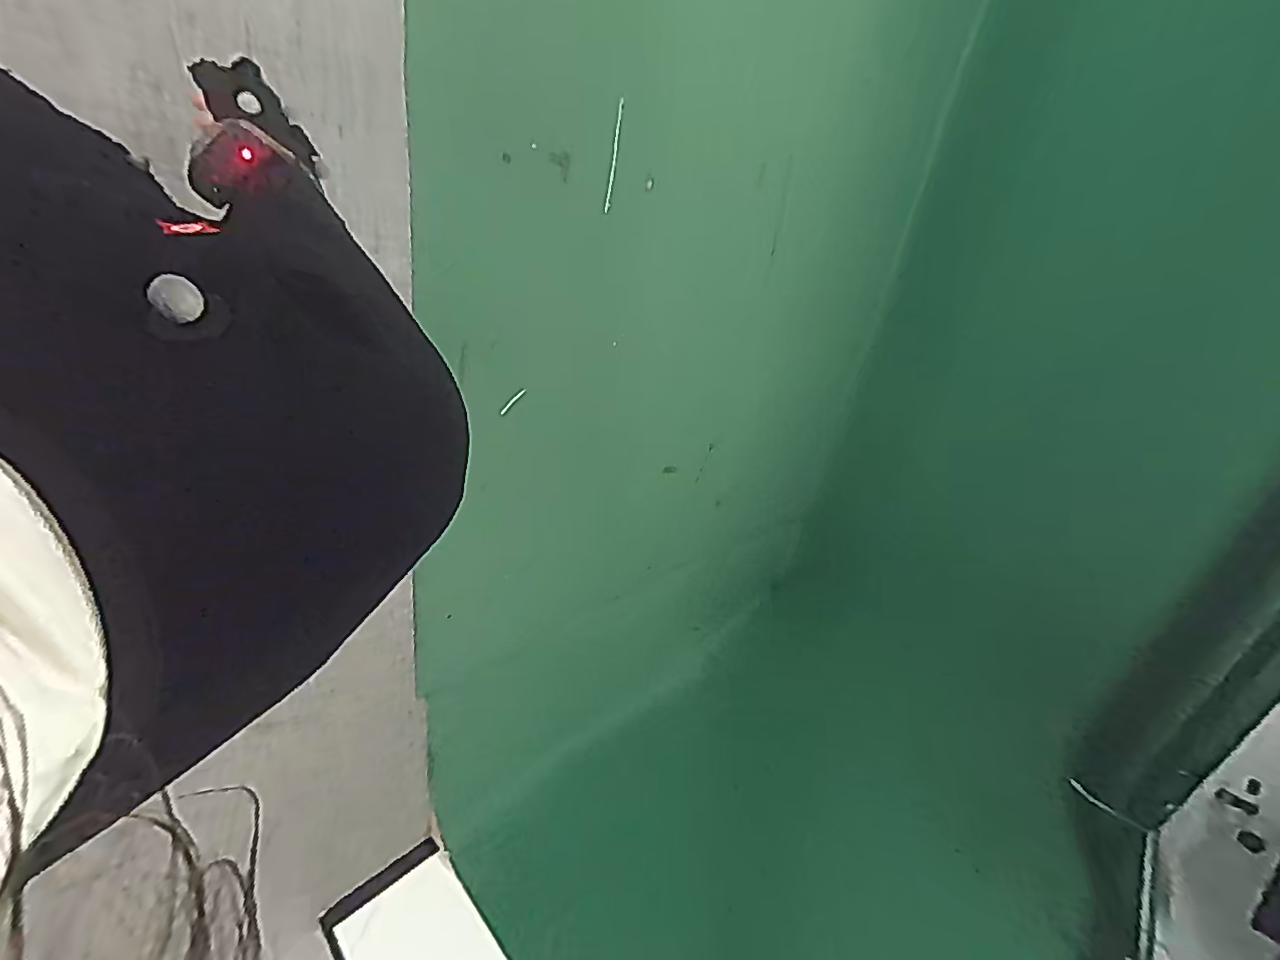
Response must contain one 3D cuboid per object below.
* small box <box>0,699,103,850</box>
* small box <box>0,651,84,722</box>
[{"bbox_3d":[-1.188,0.571,1.054,0.179,0.176,0.168,-12,124,-47],"label":"small box"},{"bbox_3d":[-1.306,0.500,1.143,0.179,0.176,0.168,-16,127,-47],"label":"small box"}]
